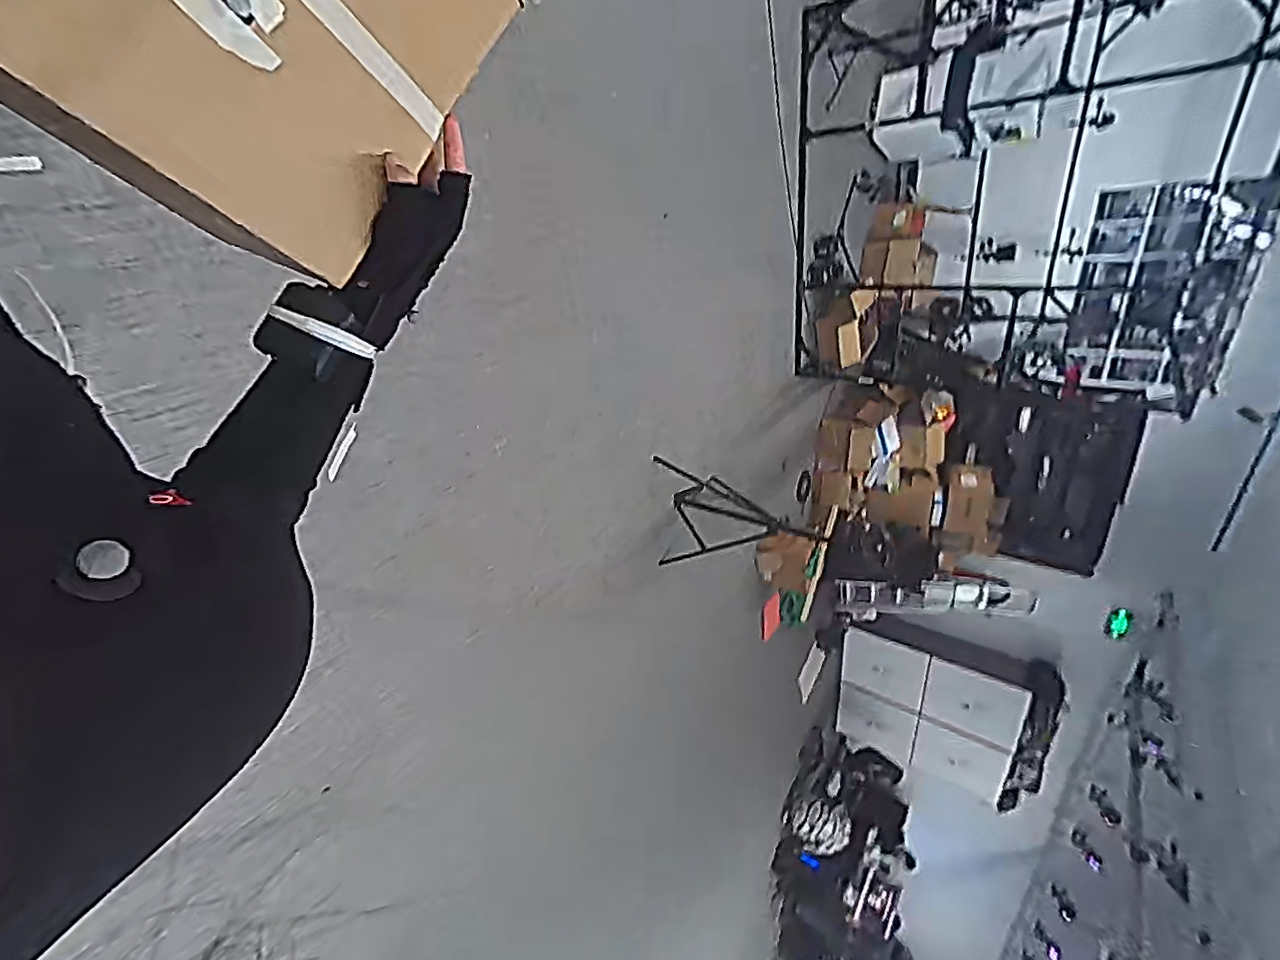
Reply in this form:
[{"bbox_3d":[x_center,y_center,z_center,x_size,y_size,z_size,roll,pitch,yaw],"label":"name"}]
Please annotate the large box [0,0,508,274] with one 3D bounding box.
[{"bbox_3d":[-0.383,-0.418,0.382,0.320,0.320,0.408,-60,146,-3],"label":"large box"}]
